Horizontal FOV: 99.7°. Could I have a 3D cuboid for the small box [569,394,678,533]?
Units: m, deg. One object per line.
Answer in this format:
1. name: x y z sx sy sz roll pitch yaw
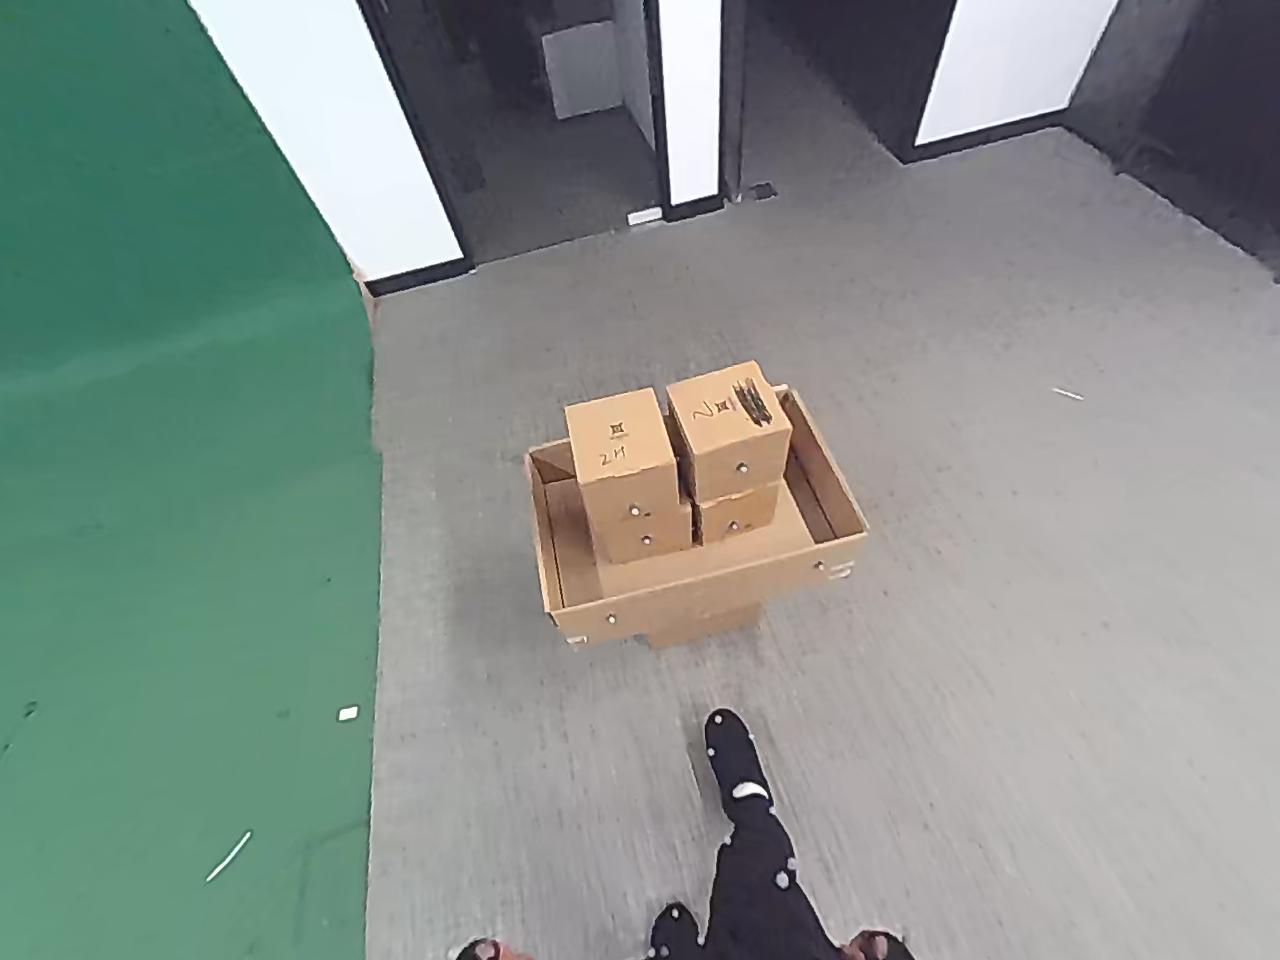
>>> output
1. small box: -0.029 -0.028 0.996 0.168 0.176 0.179 -13 56 -2
